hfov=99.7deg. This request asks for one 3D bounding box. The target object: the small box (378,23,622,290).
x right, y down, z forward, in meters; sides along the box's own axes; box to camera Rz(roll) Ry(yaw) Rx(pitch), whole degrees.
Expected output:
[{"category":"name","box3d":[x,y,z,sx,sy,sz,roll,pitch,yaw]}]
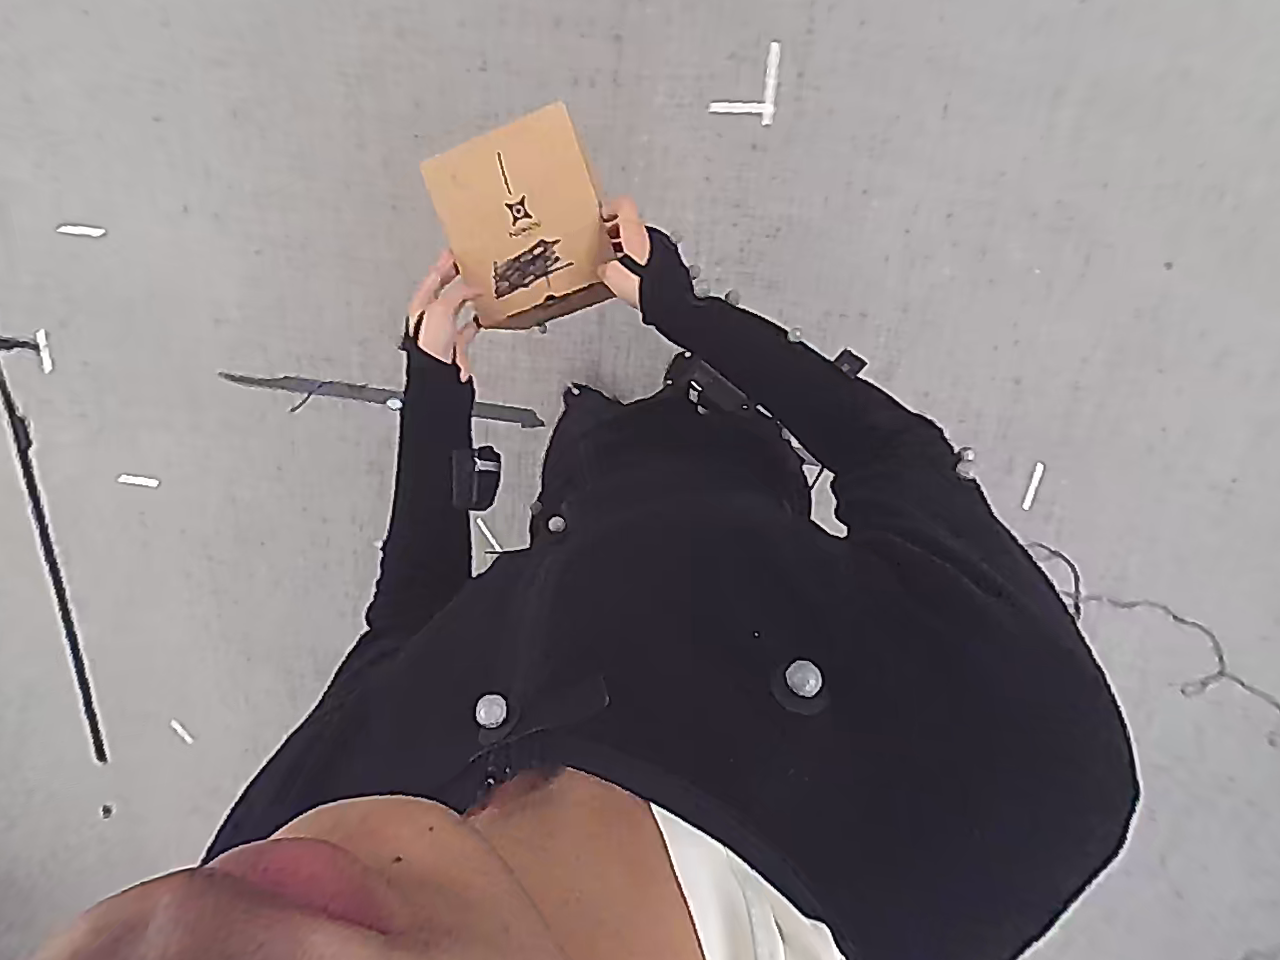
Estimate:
[{"category":"small box","box3d":[-0.125,-0.308,0.565,0.168,0.176,0.179,-17,103,9]}]
